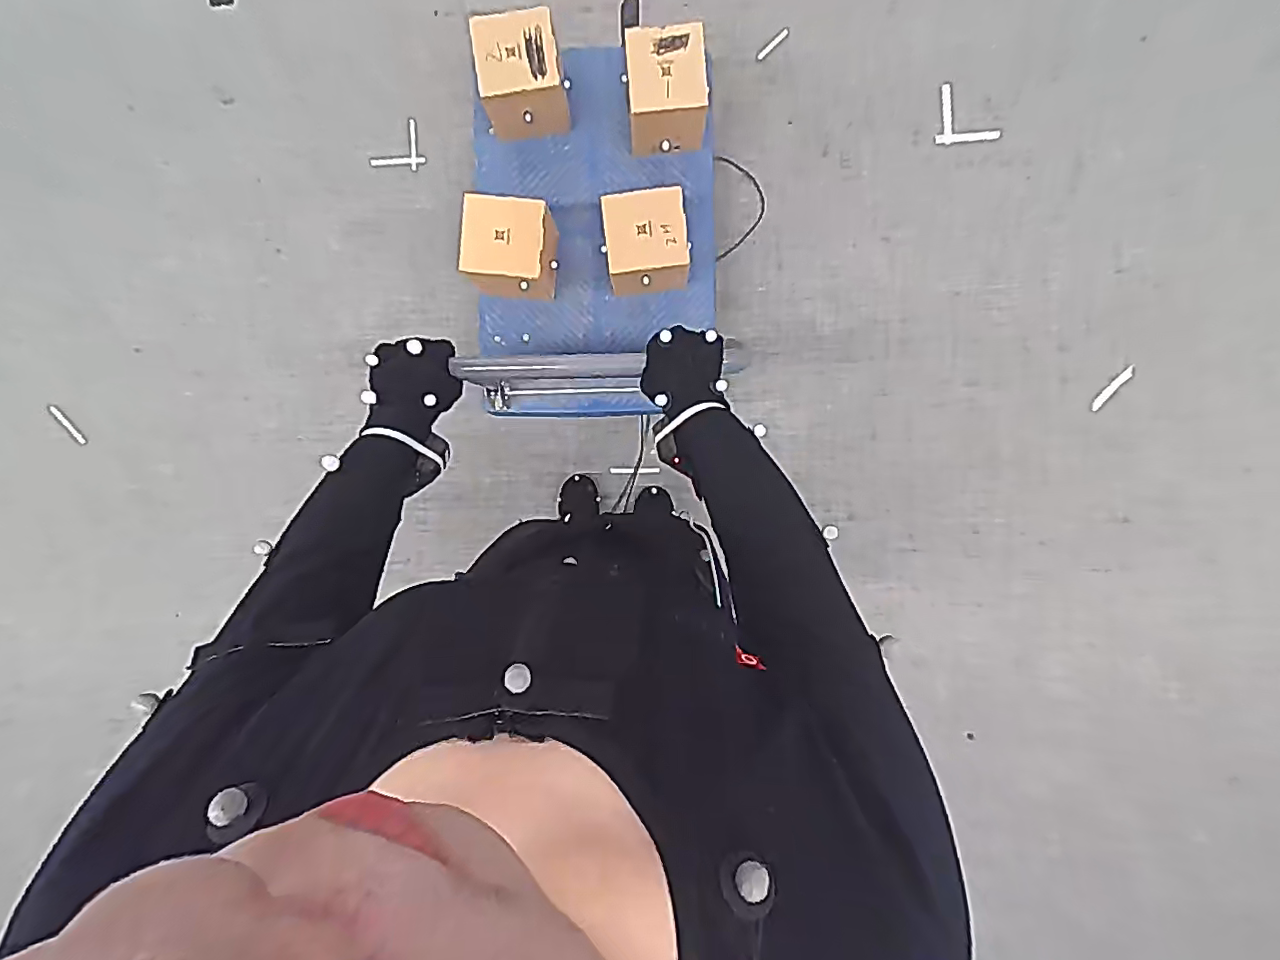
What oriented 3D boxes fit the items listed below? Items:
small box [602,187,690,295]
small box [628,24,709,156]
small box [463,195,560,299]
[{"bbox_3d":[0.017,-0.535,1.231,0.179,0.176,0.168,-7,92,2],"label":"small box"},{"bbox_3d":[0.060,-0.870,1.220,0.168,0.176,0.179,-5,93,1],"label":"small box"},{"bbox_3d":[-0.289,-0.526,1.239,0.179,0.176,0.168,5,92,0],"label":"small box"}]
